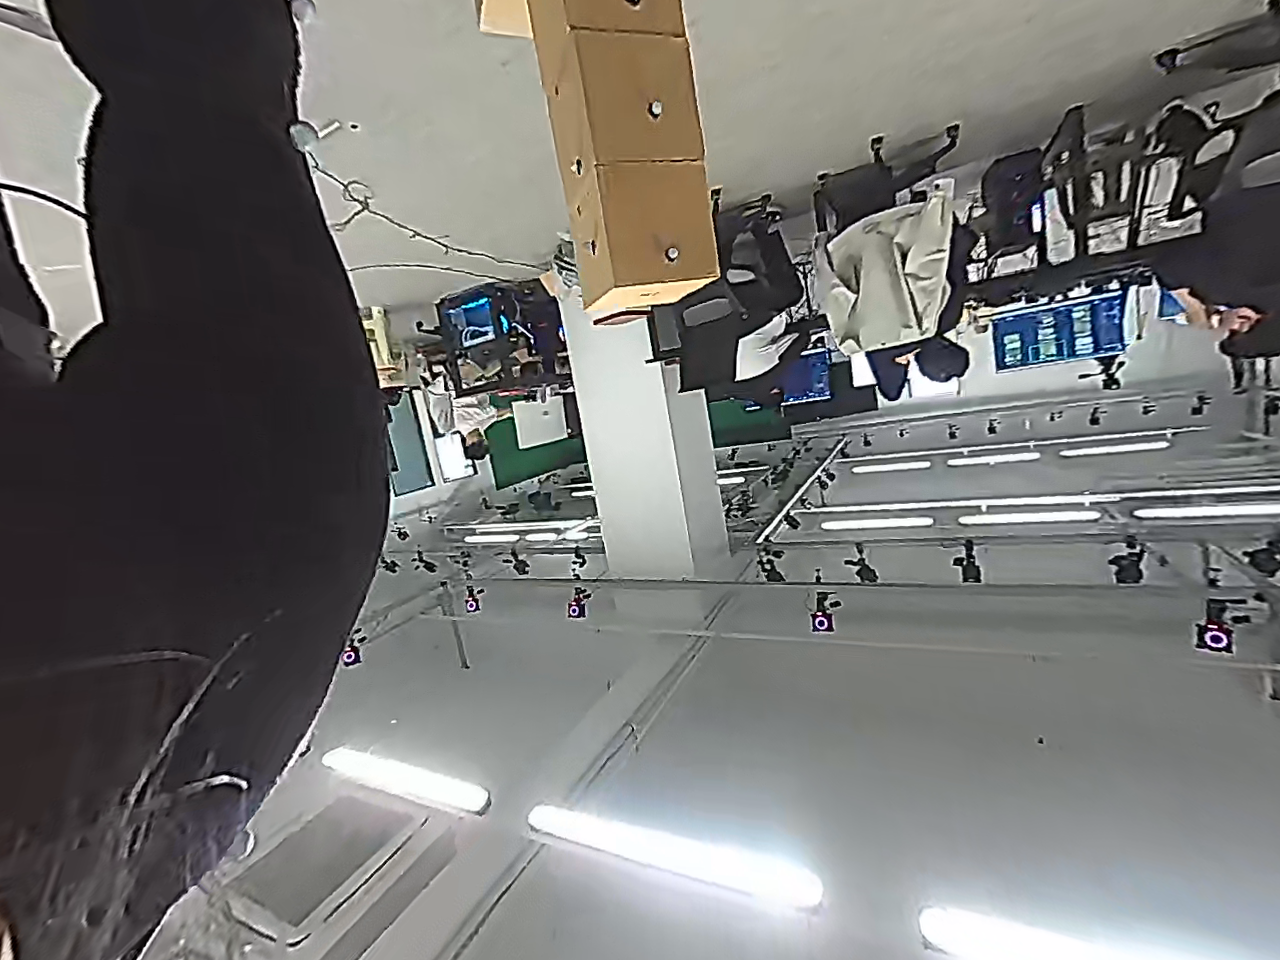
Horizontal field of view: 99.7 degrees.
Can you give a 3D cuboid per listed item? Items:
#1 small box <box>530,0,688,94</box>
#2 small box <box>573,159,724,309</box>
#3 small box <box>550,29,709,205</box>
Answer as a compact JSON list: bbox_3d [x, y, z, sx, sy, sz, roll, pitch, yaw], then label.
[{"bbox_3d":[-0.053,-0.697,0.789,0.179,0.176,0.168,-13,-170,-20],"label":"small box"},{"bbox_3d":[0.005,-0.380,0.846,0.179,0.176,0.168,-14,-170,-19],"label":"small box"},{"bbox_3d":[-0.021,-0.538,0.817,0.179,0.176,0.168,-14,-170,-20],"label":"small box"}]
